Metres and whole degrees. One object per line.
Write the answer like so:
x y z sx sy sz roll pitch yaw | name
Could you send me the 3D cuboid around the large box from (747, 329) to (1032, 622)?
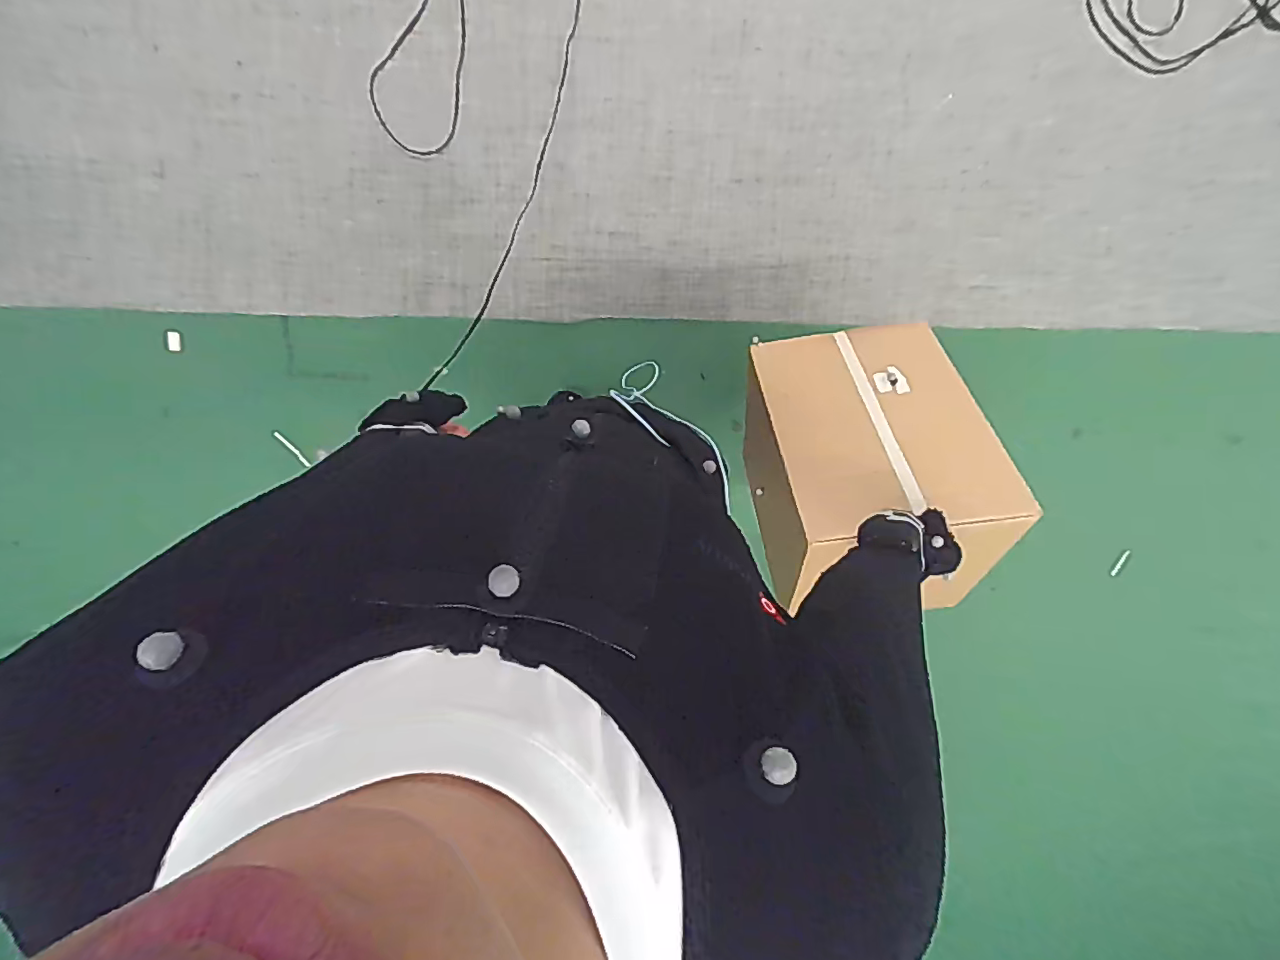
0.387 -0.004 0.975 0.320 0.408 0.320 -7 143 2 | large box
